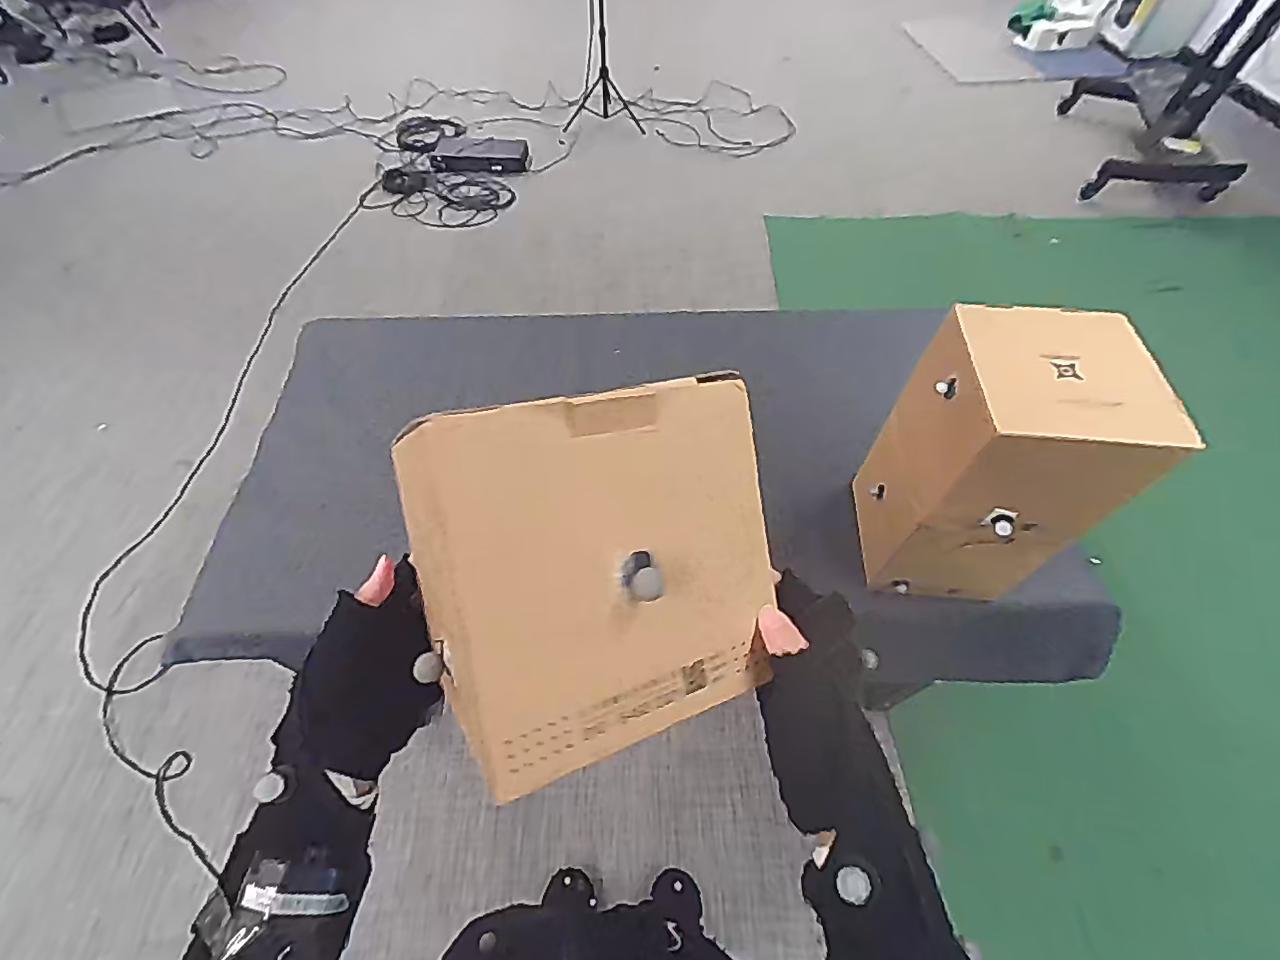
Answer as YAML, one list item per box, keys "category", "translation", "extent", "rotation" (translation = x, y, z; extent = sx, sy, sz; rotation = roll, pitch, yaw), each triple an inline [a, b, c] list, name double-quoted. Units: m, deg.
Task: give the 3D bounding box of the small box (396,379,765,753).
- category: "small box"
  translation: [-0.043, 0.040, 0.342]
  extent: [0.168, 0.179, 0.176]
  rotation: [-12, 95, -30]

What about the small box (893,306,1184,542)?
- category: "small box"
  translation: [0.388, -0.056, 0.572]
  extent: [0.168, 0.176, 0.179]
  rotation: [5, 57, 5]

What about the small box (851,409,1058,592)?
- category: "small box"
  translation: [0.390, 0.032, 0.707]
  extent: [0.168, 0.176, 0.179]
  rotation: [5, 55, 4]
